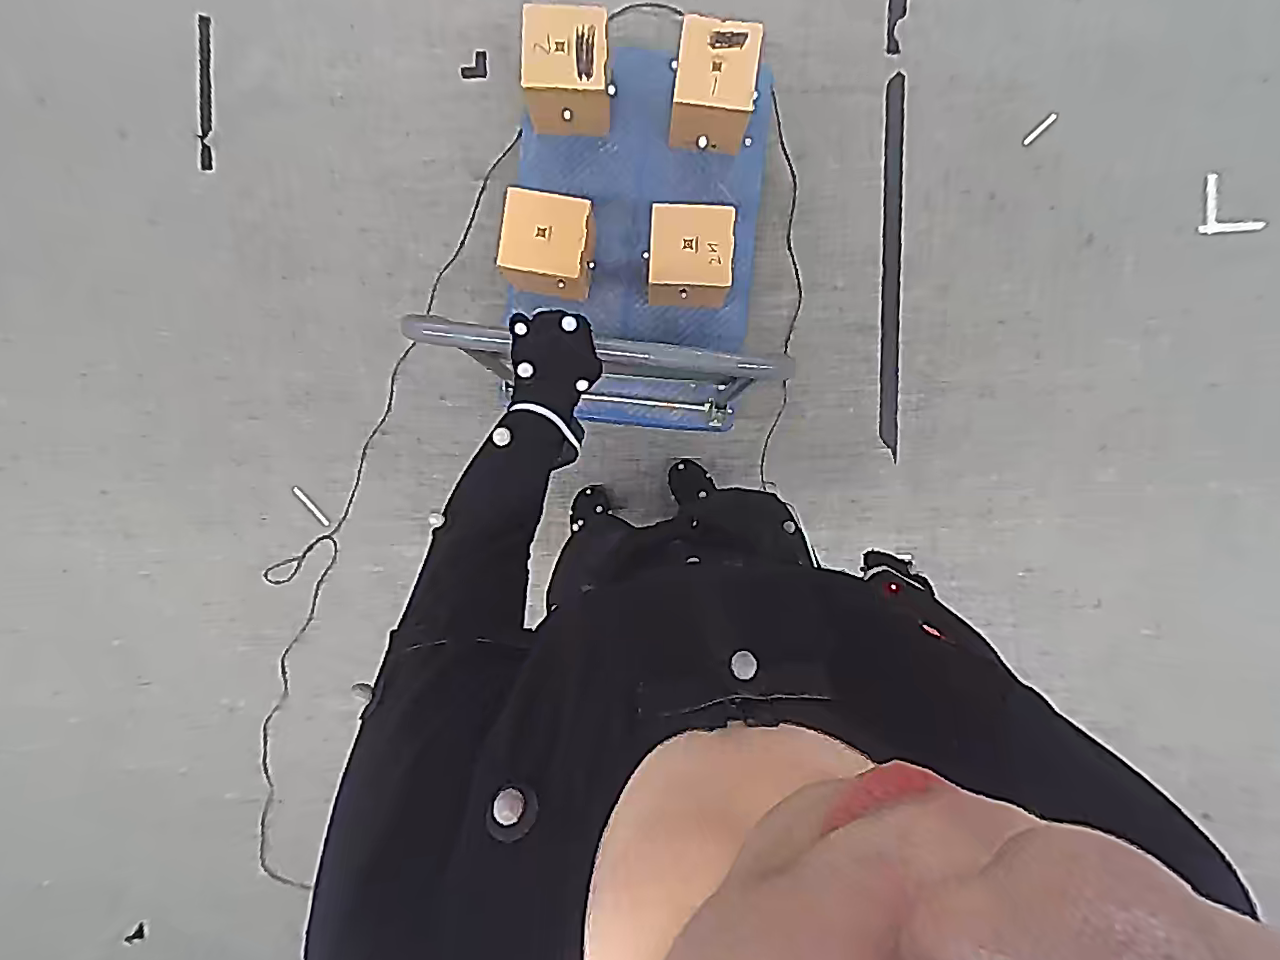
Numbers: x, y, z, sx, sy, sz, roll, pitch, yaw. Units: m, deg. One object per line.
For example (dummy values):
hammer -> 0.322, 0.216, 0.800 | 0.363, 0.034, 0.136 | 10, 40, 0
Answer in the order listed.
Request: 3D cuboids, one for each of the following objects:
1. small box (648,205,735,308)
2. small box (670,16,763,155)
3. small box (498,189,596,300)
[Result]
small box -> 0.109, -0.489, 1.204 | 0.179, 0.176, 0.168 | 3, 93, 0
small box -> 0.159, -0.855, 1.186 | 0.168, 0.176, 0.179 | 7, 94, 0
small box -> -0.200, -0.514, 1.205 | 0.179, 0.176, 0.168 | 9, 92, -2
